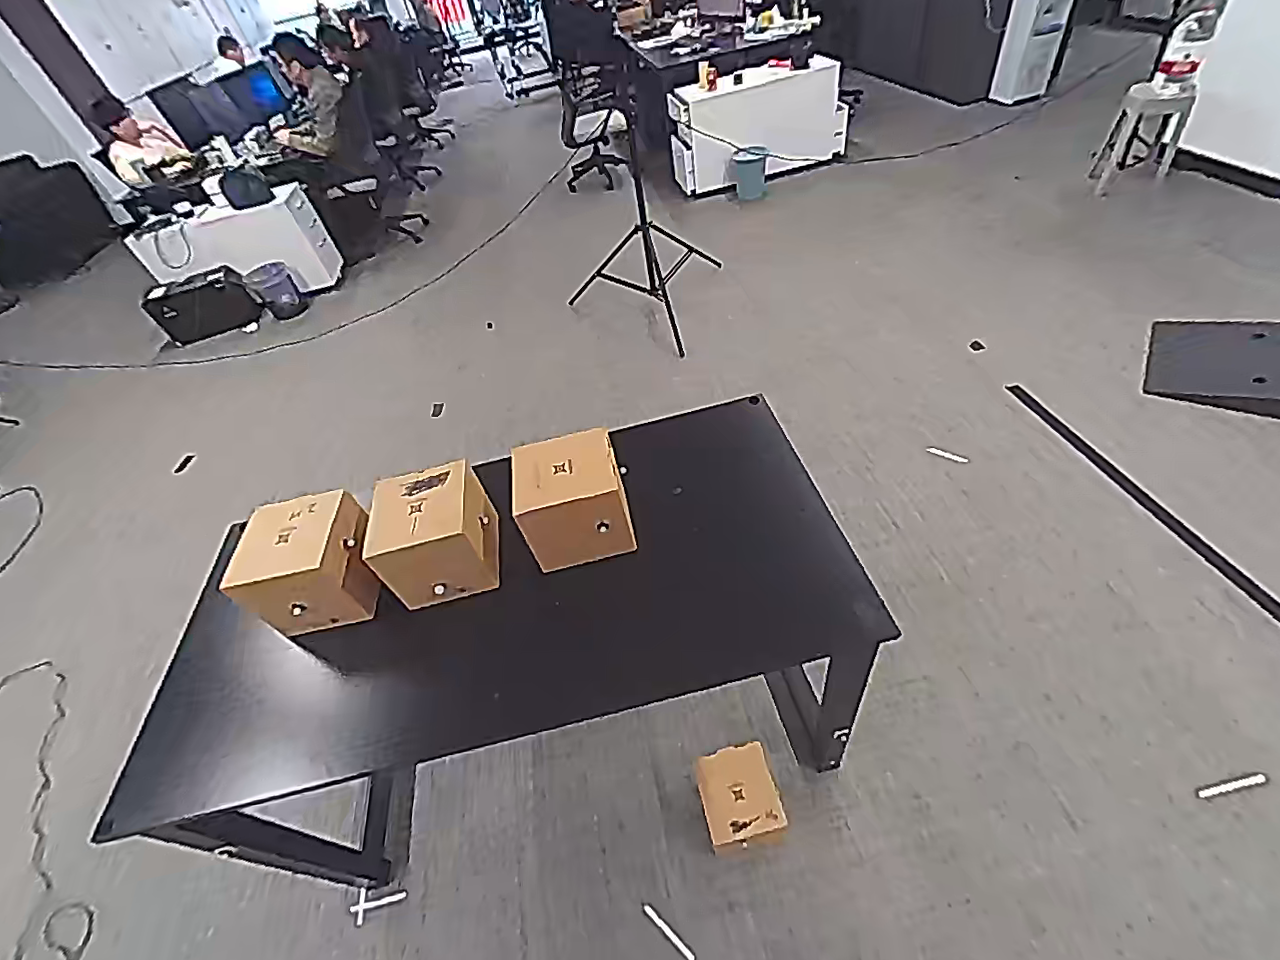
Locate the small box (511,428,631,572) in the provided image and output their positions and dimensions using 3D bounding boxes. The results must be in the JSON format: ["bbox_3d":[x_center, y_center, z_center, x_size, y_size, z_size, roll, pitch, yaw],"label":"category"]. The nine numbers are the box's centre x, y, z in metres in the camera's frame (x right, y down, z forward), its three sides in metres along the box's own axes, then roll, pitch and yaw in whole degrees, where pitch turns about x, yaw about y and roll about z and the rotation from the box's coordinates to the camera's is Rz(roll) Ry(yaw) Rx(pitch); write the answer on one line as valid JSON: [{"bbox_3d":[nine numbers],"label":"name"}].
[{"bbox_3d":[-0.119,0.039,0.970,0.179,0.176,0.168,-15,45,0],"label":"small box"}]

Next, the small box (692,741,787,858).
[{"bbox_3d":[0.225,0.737,1.244,0.168,0.176,0.179,-16,46,-1],"label":"small box"}]

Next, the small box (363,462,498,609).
[{"bbox_3d":[-0.360,0.100,0.963,0.168,0.176,0.179,-15,47,-2],"label":"small box"}]

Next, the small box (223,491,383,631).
[{"bbox_3d":[-0.579,0.151,0.965,0.168,0.176,0.179,-12,46,0],"label":"small box"}]
